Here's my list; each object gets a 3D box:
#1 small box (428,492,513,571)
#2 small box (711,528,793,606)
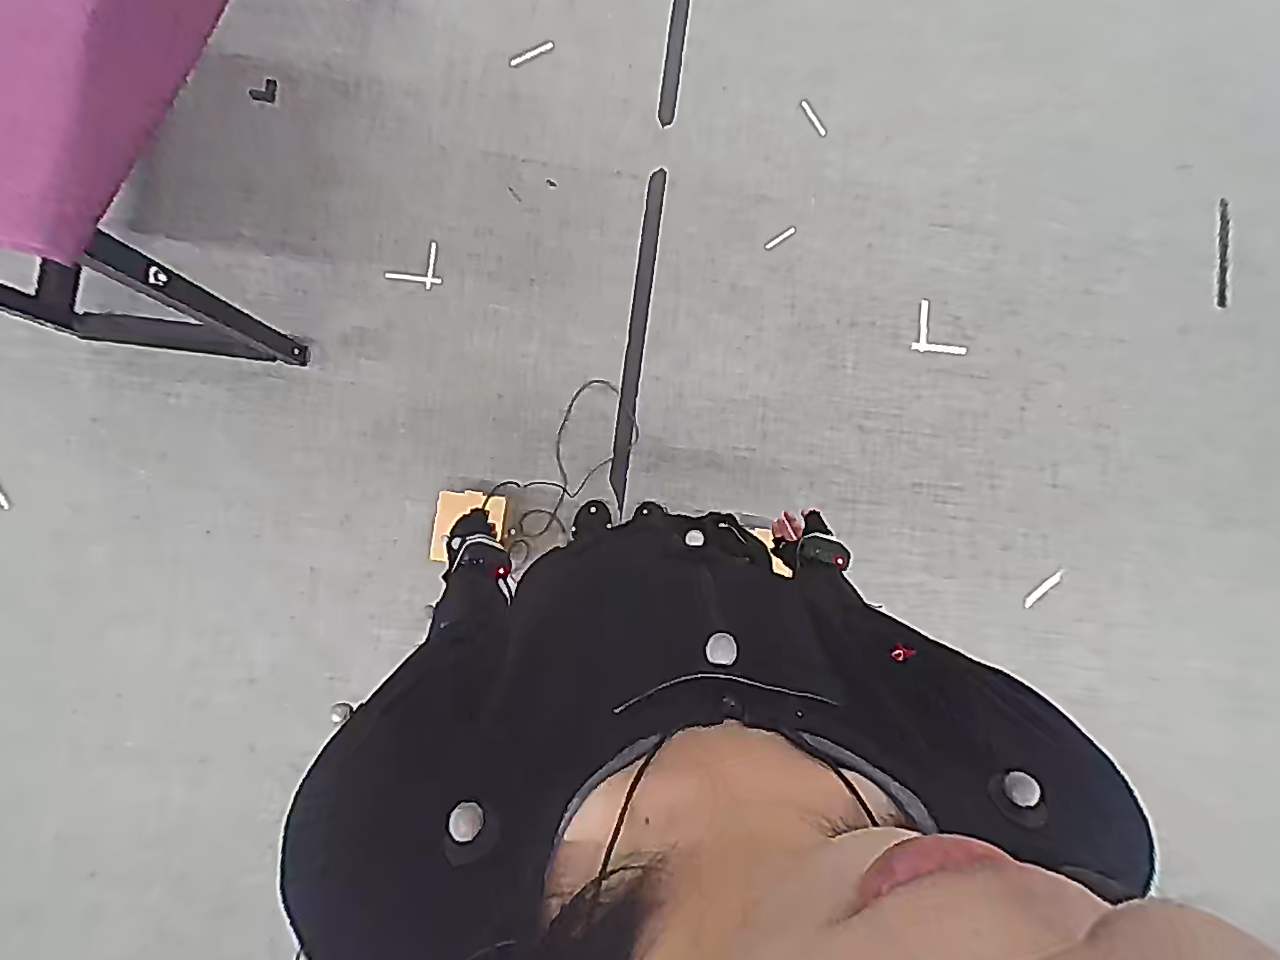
[{"bbox_3d":[-0.430,0.134,1.398,0.168,0.176,0.179,7,83,-5],"label":"small box"},{"bbox_3d":[0.296,0.228,1.460,0.168,0.176,0.179,9,86,-3],"label":"small box"}]
